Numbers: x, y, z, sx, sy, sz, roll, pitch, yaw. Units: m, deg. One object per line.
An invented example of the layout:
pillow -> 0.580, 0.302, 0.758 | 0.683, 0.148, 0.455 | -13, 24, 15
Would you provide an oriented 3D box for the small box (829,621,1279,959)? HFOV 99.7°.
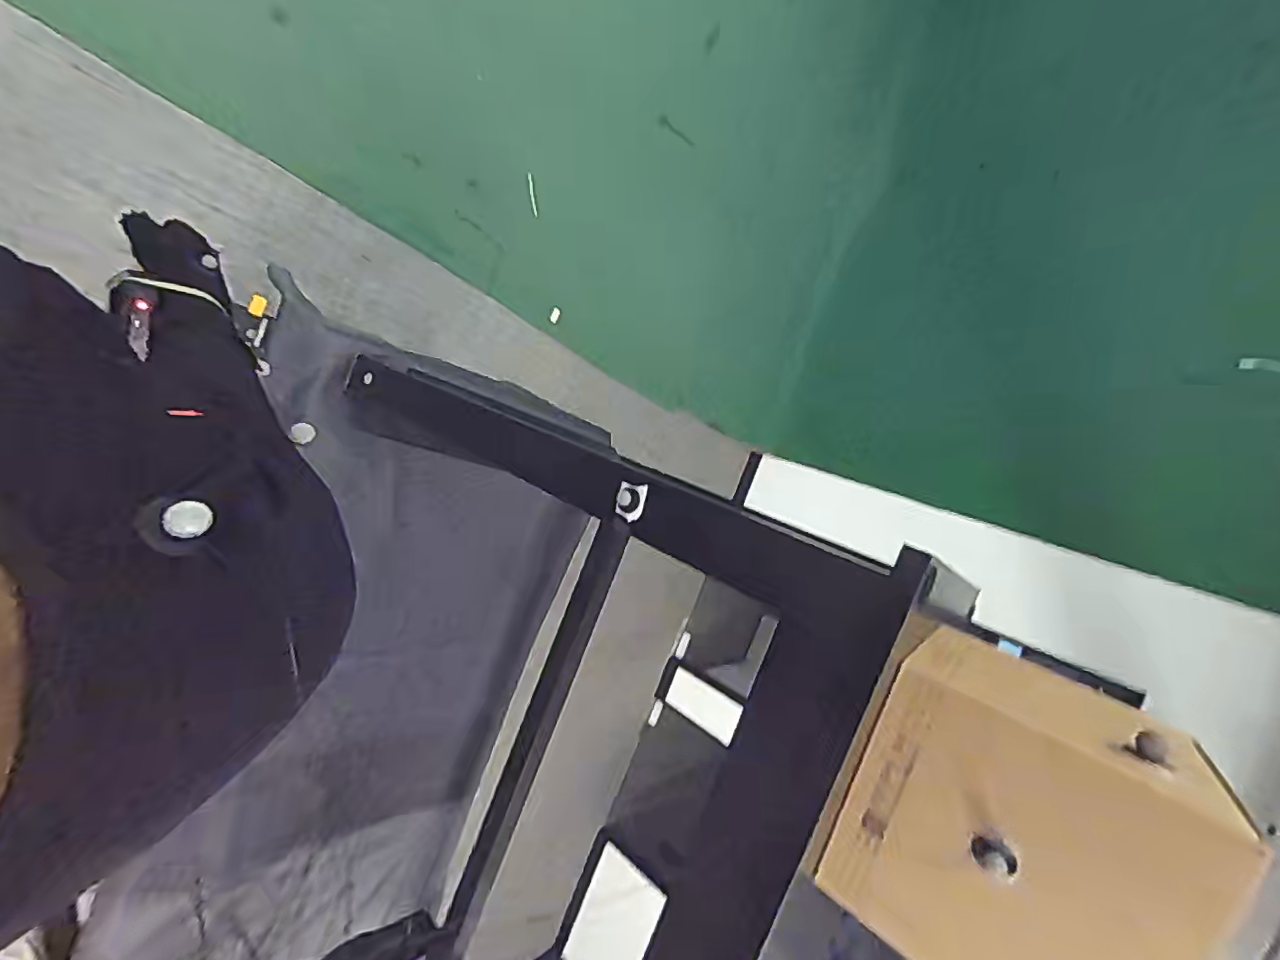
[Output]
small box -> 0.246, 0.211, 0.354 | 0.179, 0.176, 0.168 | 8, 103, -53
